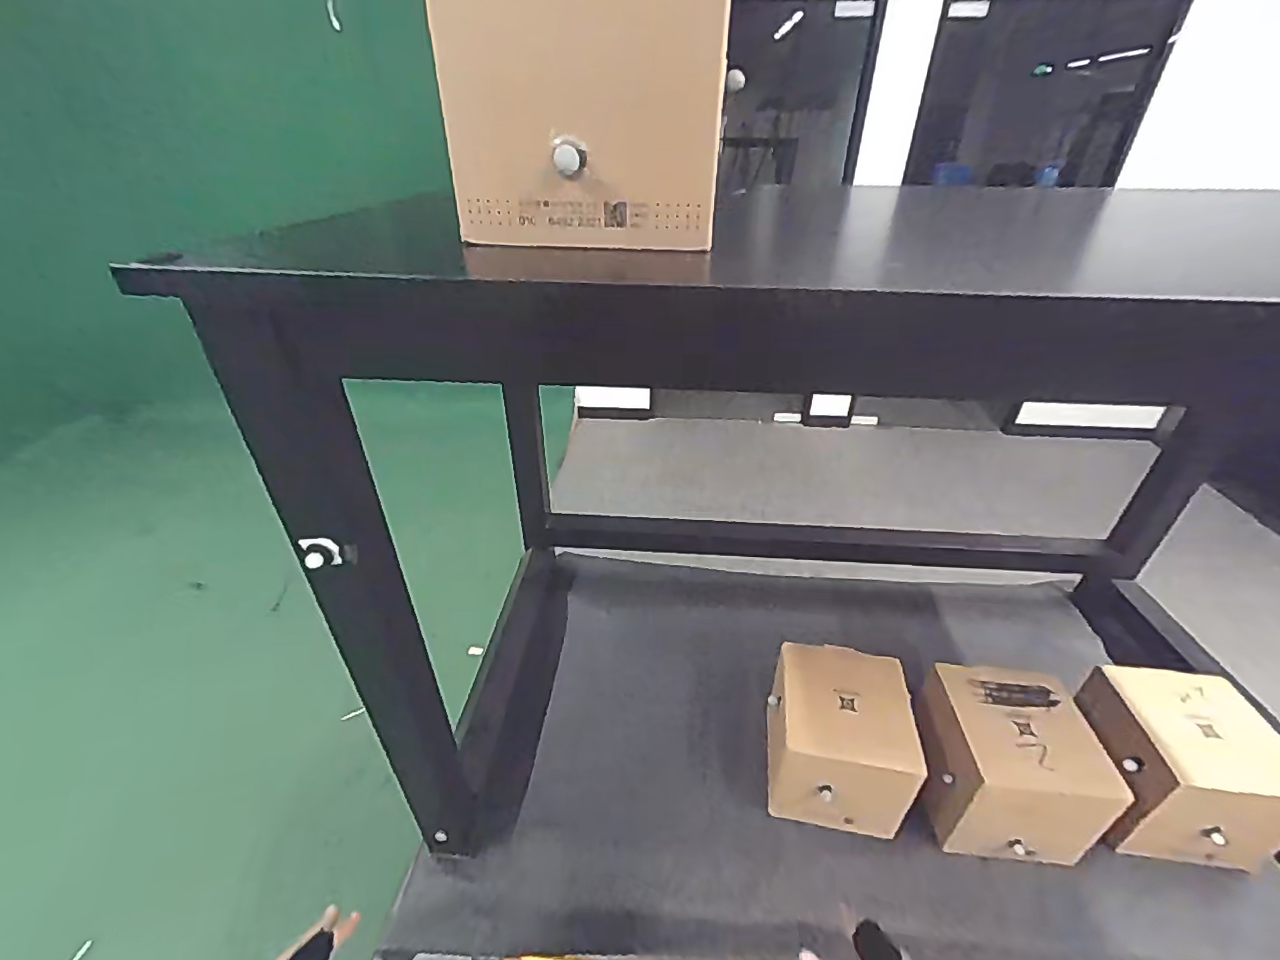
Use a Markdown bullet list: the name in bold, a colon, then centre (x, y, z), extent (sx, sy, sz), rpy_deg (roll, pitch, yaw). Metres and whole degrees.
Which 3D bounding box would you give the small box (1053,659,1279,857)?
- **small box**: centre (0.718, 0.376, 0.736), extent (0.168, 0.176, 0.179), rpy_deg (4, 33, 6)

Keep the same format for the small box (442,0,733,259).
- **small box**: centre (-0.025, -0.264, 0.380), extent (0.168, 0.176, 0.179), rpy_deg (3, 34, 5)

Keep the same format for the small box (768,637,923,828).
- **small box**: centre (0.278, 0.357, 0.770), extent (0.168, 0.176, 0.179), rpy_deg (6, 33, 9)
